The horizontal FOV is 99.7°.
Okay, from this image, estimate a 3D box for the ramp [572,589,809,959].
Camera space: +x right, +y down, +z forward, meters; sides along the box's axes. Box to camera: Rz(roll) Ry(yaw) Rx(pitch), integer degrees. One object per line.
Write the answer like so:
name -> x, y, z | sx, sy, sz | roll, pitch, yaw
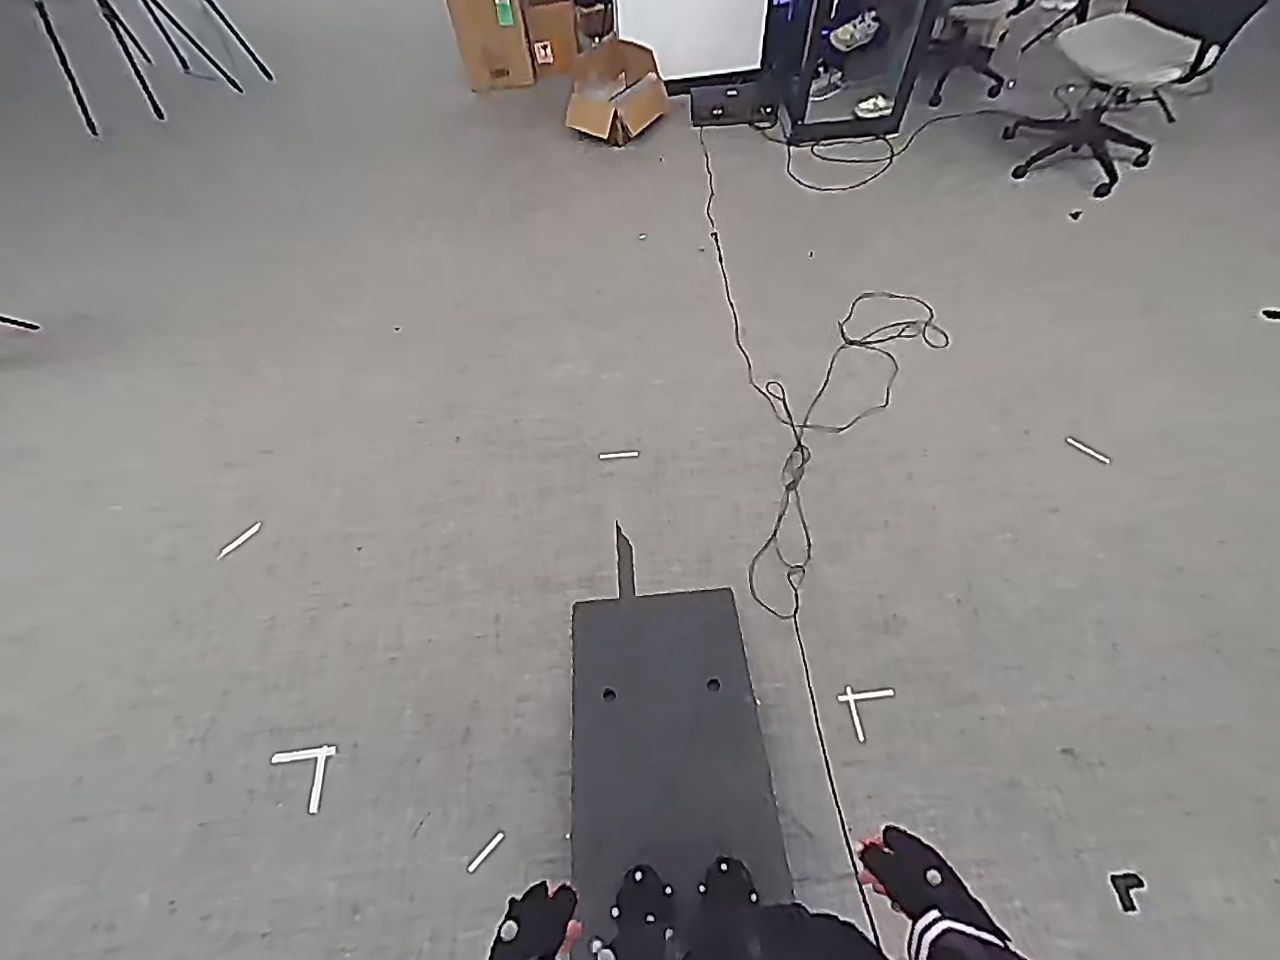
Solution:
ramp -> 0.074, 0.735, 1.337 | 0.509, 0.206, 0.991 | -8, 59, 0
